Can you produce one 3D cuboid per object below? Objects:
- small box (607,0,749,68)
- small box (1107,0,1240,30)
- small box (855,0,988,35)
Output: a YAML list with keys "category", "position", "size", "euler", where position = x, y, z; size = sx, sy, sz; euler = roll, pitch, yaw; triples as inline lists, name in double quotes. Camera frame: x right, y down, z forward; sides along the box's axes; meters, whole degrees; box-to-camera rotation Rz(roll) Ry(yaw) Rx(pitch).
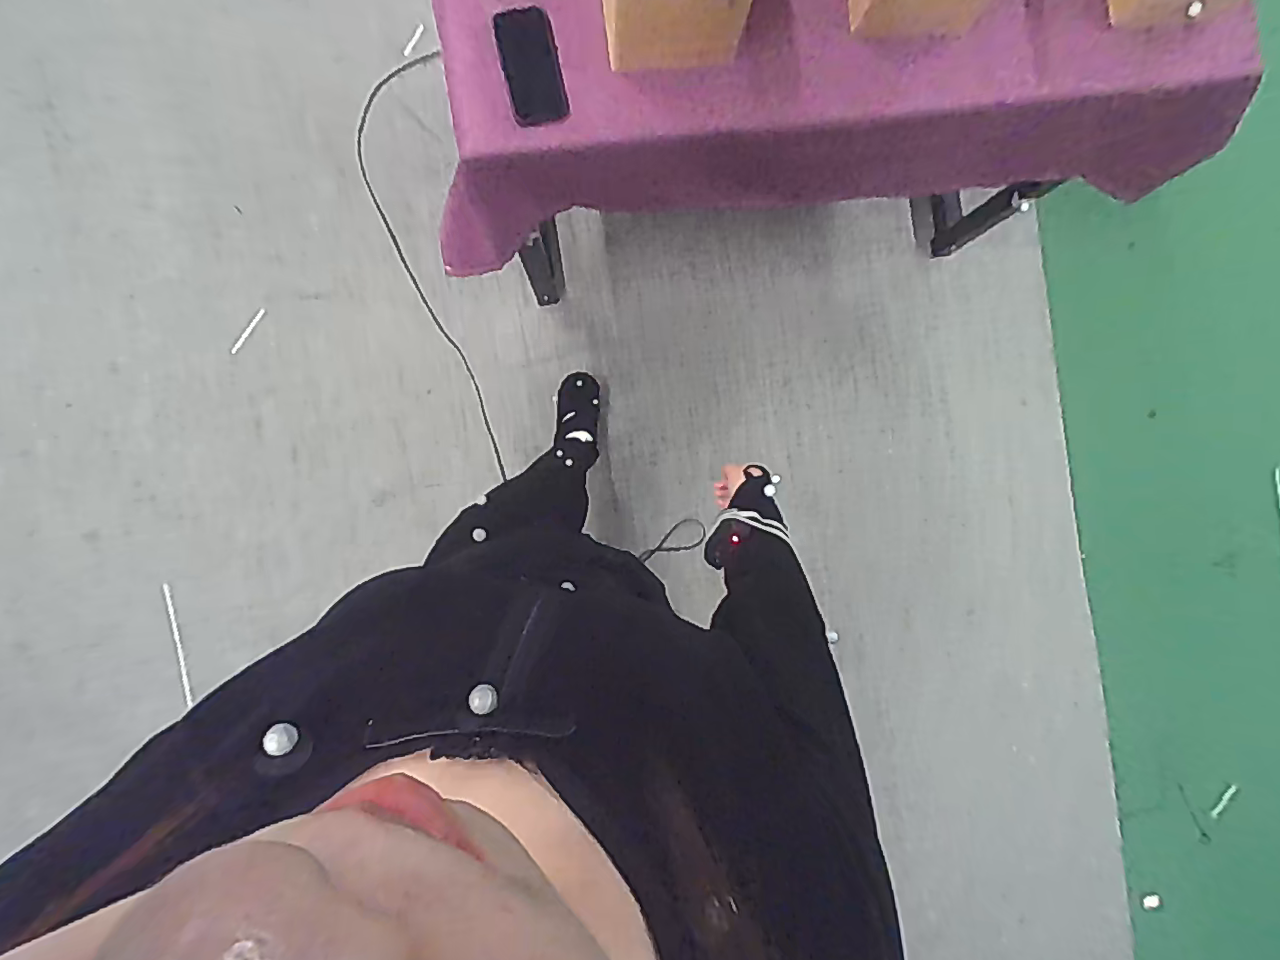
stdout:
- category: "small box"
  position: [0.044, -0.657, 0.677]
  size: [0.179, 0.176, 0.168]
  euler: [-7, 91, -5]
- category: "small box"
  position: [0.779, -0.755, 0.725]
  size: [0.179, 0.176, 0.168]
  euler: [-9, 91, -4]
- category: "small box"
  position: [0.391, -0.721, 0.699]
  size: [0.179, 0.176, 0.168]
  euler: [-5, 91, -5]
